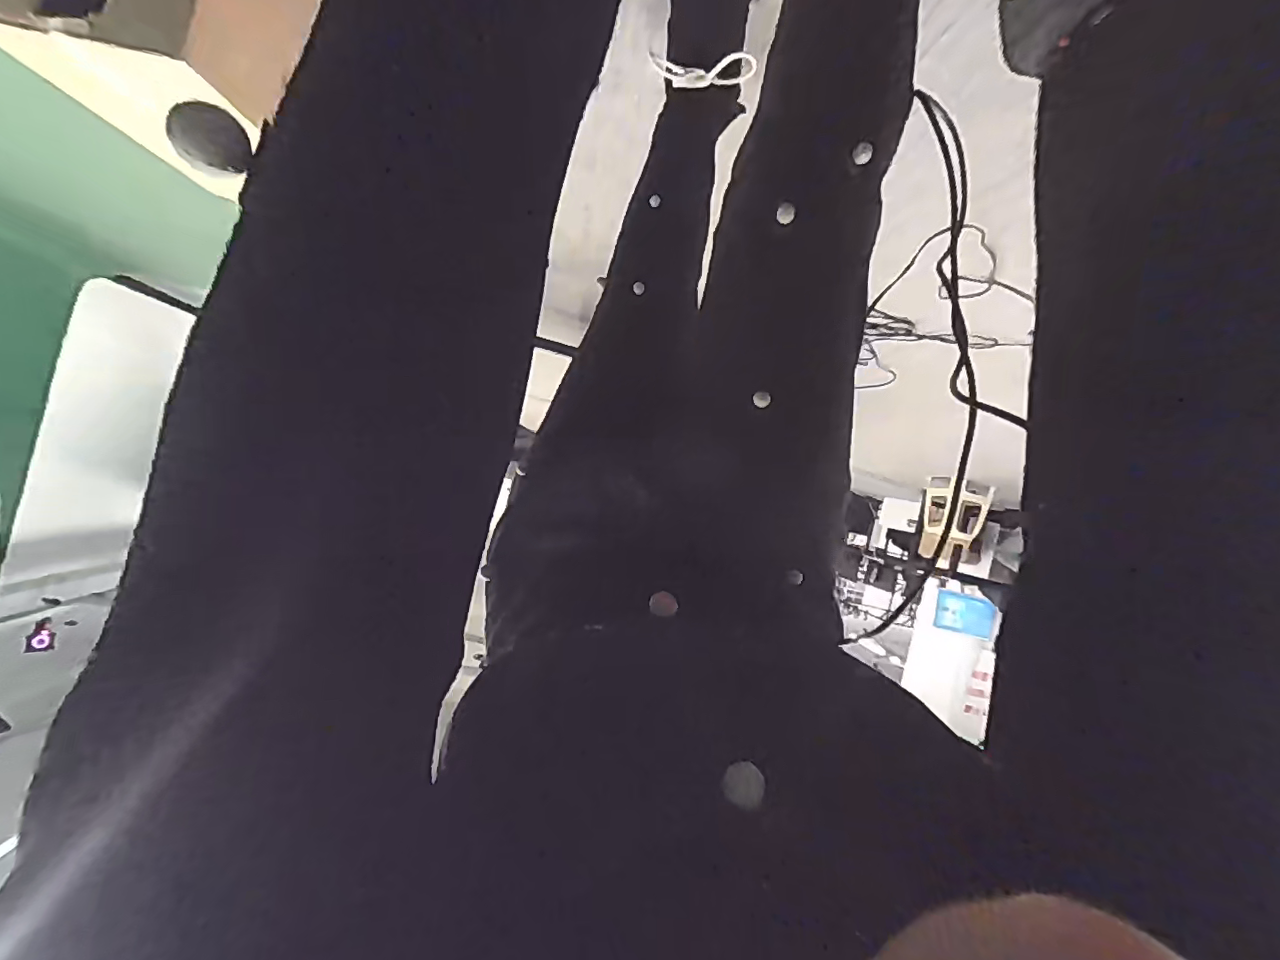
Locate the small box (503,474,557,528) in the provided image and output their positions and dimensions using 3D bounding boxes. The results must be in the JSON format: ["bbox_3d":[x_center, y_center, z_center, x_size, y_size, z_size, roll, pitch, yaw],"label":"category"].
[{"bbox_3d":[-0.427,0.080,2.110,0.179,0.176,0.168,14,179,-11],"label":"small box"}]
